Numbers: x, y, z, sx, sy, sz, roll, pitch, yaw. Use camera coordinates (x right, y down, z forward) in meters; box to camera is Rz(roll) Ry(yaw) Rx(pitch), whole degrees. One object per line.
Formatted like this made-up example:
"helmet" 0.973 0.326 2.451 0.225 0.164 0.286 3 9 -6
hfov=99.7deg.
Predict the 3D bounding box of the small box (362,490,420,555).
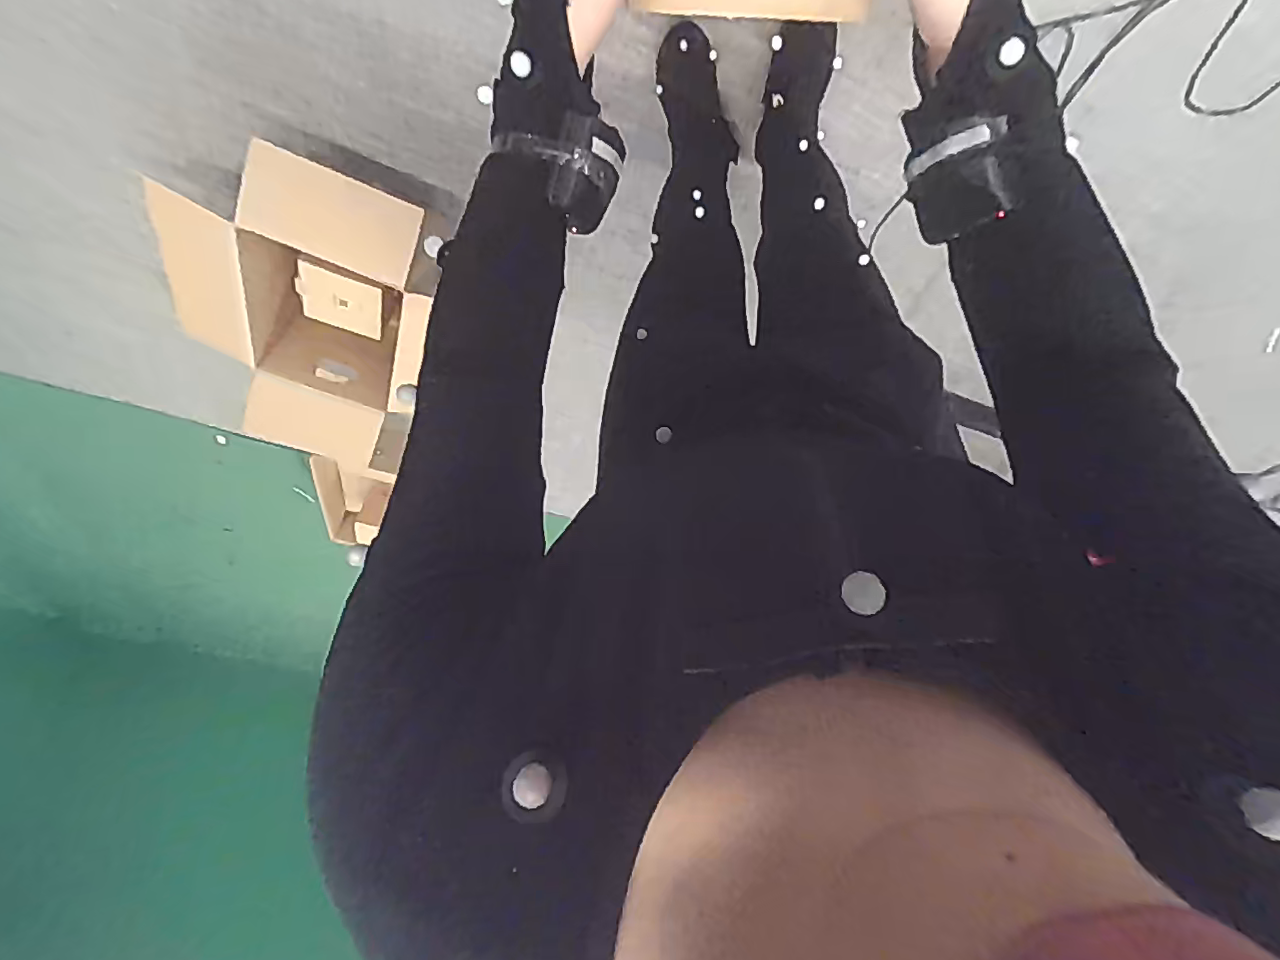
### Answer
"small box" -0.987 0.169 2.154 0.168 0.176 0.179 16 141 -12

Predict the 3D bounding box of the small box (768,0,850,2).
"small box" 0.081 -0.455 0.352 0.179 0.176 0.168 4 153 2
